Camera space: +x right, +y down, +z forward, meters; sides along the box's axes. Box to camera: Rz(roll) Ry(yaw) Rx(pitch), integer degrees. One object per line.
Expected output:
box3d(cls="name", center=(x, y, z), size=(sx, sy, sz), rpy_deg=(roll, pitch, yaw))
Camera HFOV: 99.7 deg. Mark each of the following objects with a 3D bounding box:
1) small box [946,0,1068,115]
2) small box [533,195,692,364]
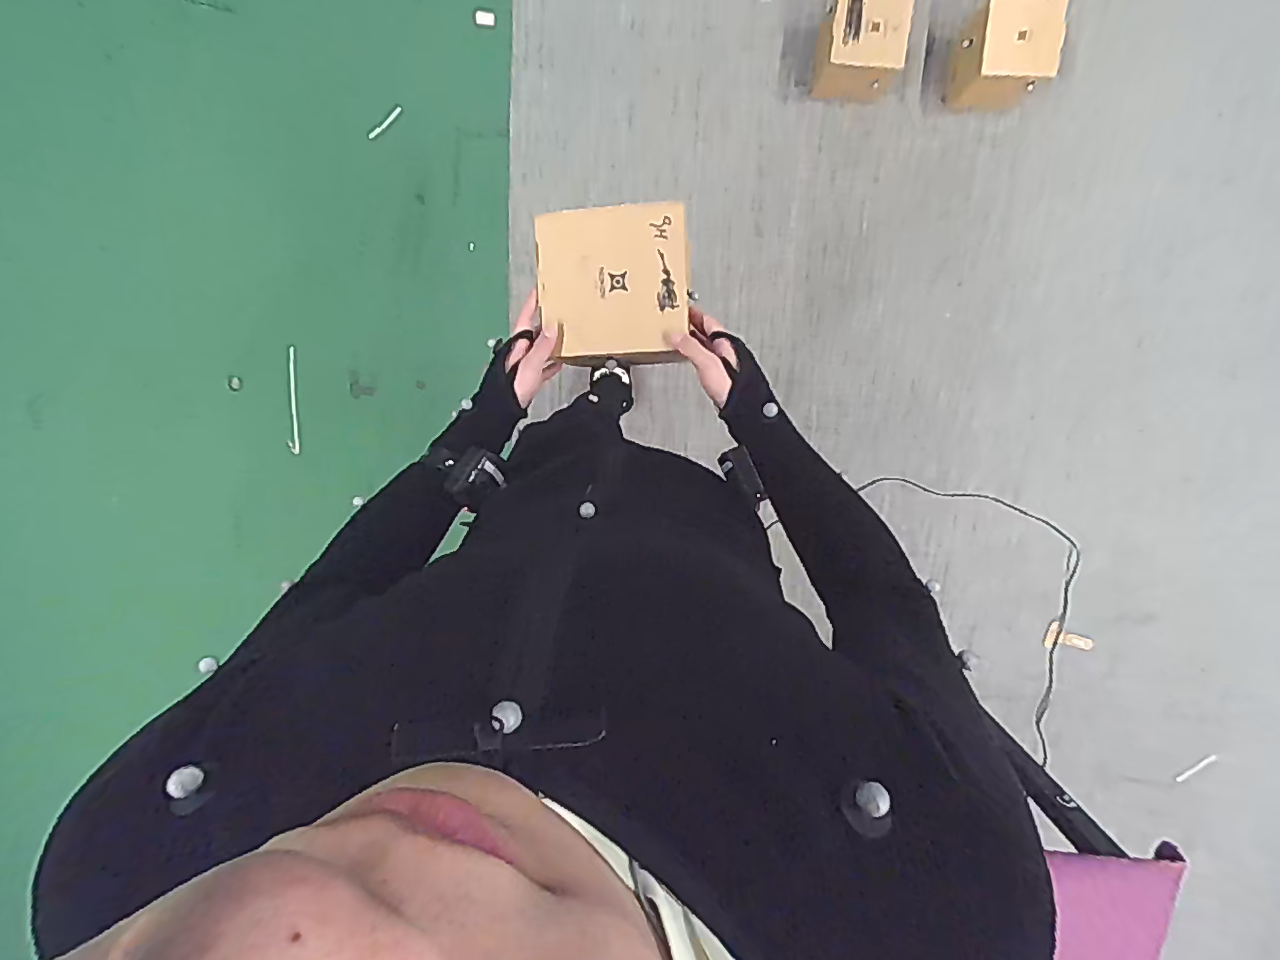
box3d(cls="small box", center=(0.873, -1.011, 1.306), size=(0.179, 0.176, 0.168), rpy_deg=(2, 100, 1))
box3d(cls="small box", center=(-0.025, -0.241, 0.692), size=(0.179, 0.176, 0.168), rpy_deg=(-1, 96, 7))
